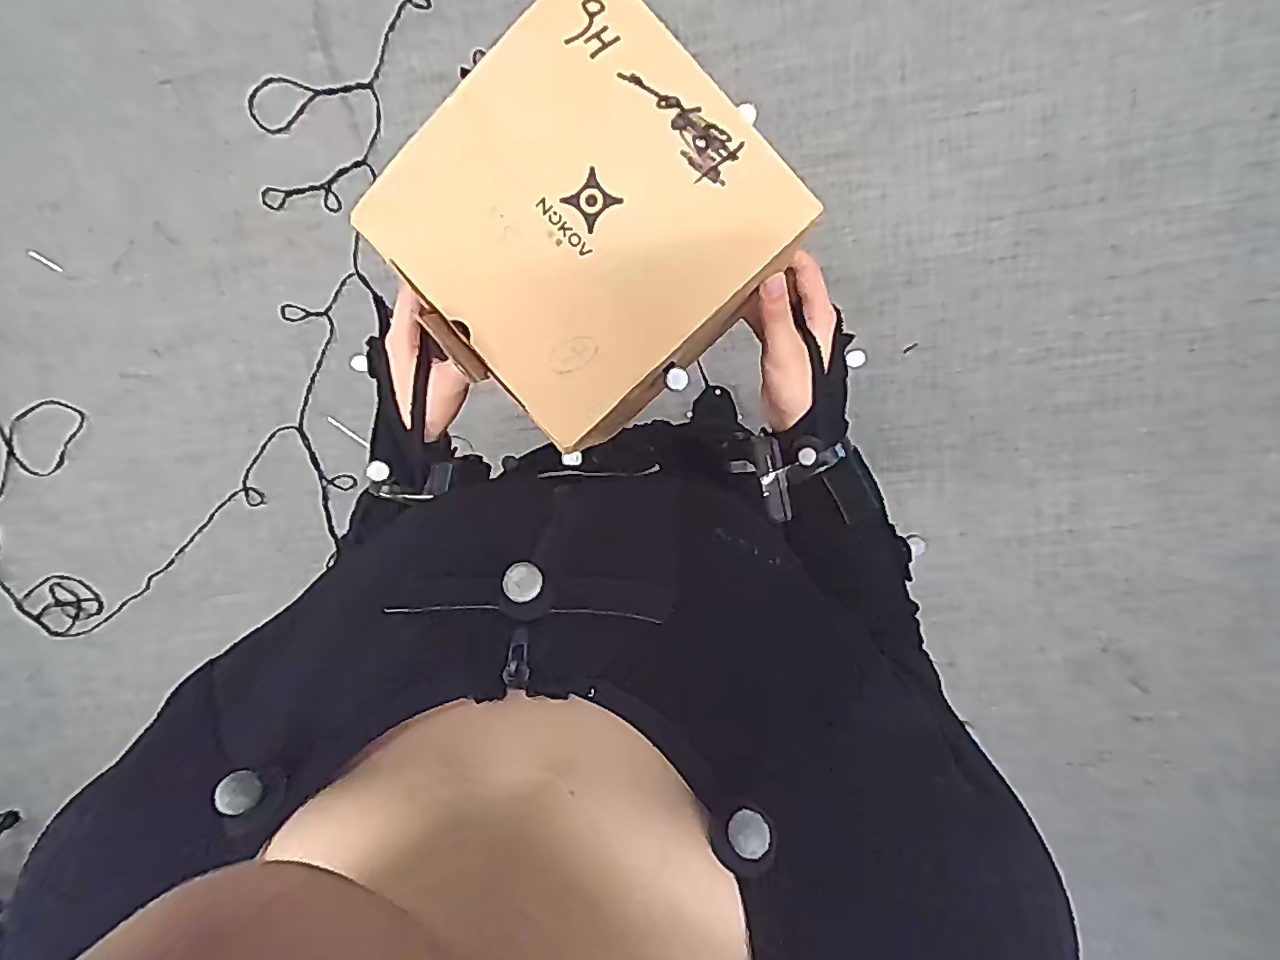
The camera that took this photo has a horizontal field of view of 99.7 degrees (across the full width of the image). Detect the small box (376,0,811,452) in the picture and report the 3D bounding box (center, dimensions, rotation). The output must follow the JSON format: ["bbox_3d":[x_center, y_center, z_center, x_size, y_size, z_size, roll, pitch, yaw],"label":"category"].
[{"bbox_3d":[-0.021,-0.138,0.360,0.179,0.176,0.168,-43,92,8],"label":"small box"}]
